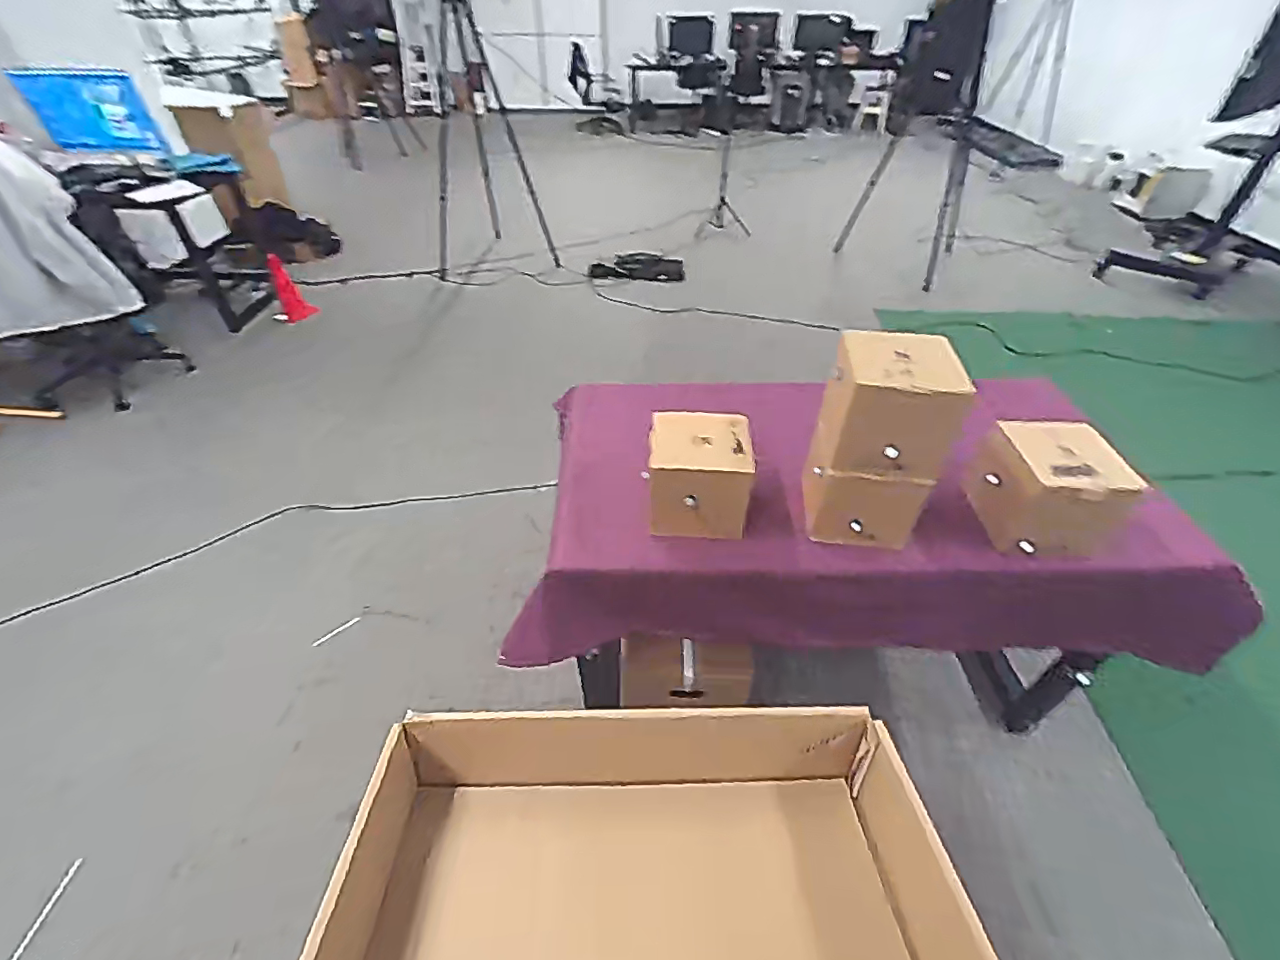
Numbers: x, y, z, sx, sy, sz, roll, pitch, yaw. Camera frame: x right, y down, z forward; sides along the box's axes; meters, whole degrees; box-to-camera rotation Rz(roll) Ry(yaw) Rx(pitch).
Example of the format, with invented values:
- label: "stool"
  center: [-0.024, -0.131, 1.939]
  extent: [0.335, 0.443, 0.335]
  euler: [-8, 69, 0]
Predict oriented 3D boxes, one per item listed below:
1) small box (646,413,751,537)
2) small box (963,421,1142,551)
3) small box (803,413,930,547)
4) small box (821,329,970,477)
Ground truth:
- label: "small box"
  center: [0.105, -0.009, 1.006]
  extent: [0.179, 0.176, 0.168]
  euler: [1, 43, 3]
- label: "small box"
  center: [0.722, 0.011, 0.973]
  extent: [0.168, 0.176, 0.179]
  euler: [2, 42, 3]
- label: "small box"
  center: [0.403, -0.002, 0.997]
  extent: [0.168, 0.176, 0.179]
  euler: [5, 44, 6]
- label: "small box"
  center: [0.403, -0.128, 0.891]
  extent: [0.168, 0.176, 0.179]
  euler: [5, 43, 8]
